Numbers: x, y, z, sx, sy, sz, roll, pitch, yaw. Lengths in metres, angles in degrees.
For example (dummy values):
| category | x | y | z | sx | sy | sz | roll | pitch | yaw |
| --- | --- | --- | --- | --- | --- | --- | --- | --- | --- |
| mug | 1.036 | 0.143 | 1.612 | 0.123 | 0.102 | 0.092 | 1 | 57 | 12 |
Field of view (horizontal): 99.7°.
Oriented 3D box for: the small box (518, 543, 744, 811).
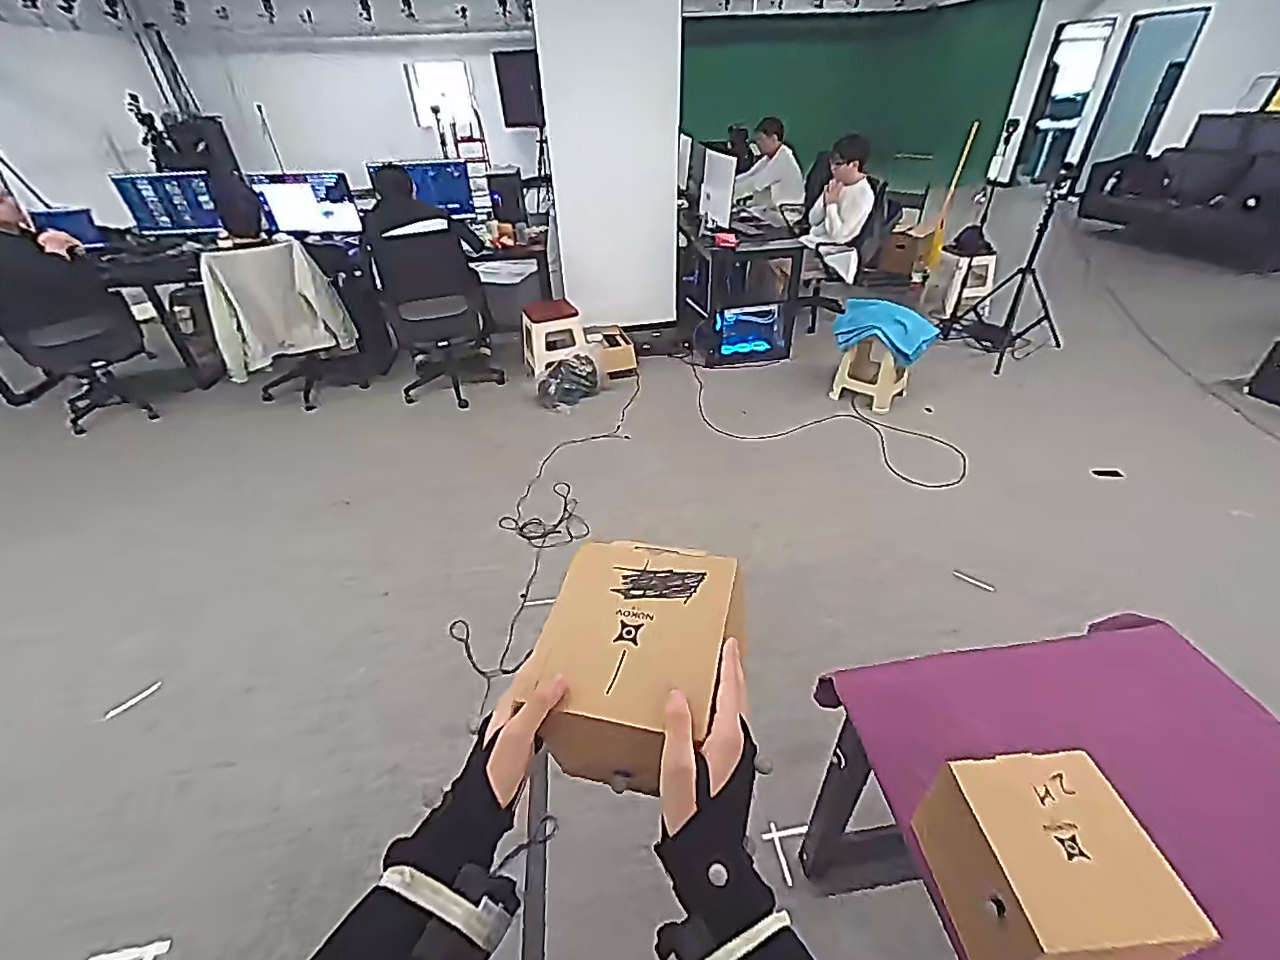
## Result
| category | x | y | z | sx | sy | sz | roll | pitch | yaw |
| --- | --- | --- | --- | --- | --- | --- | --- | --- | --- |
| small box | 0.009 | 0.188 | 0.532 | 0.168 | 0.176 | 0.179 | 4 | 44 | 18 |

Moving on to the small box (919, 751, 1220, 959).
| category | x | y | z | sx | sy | sz | roll | pitch | yaw |
| --- | --- | --- | --- | --- | --- | --- | --- | --- | --- |
| small box | 0.445 | 0.434 | 0.601 | 0.168 | 0.176 | 0.179 | -4 | 36 | -2 |
